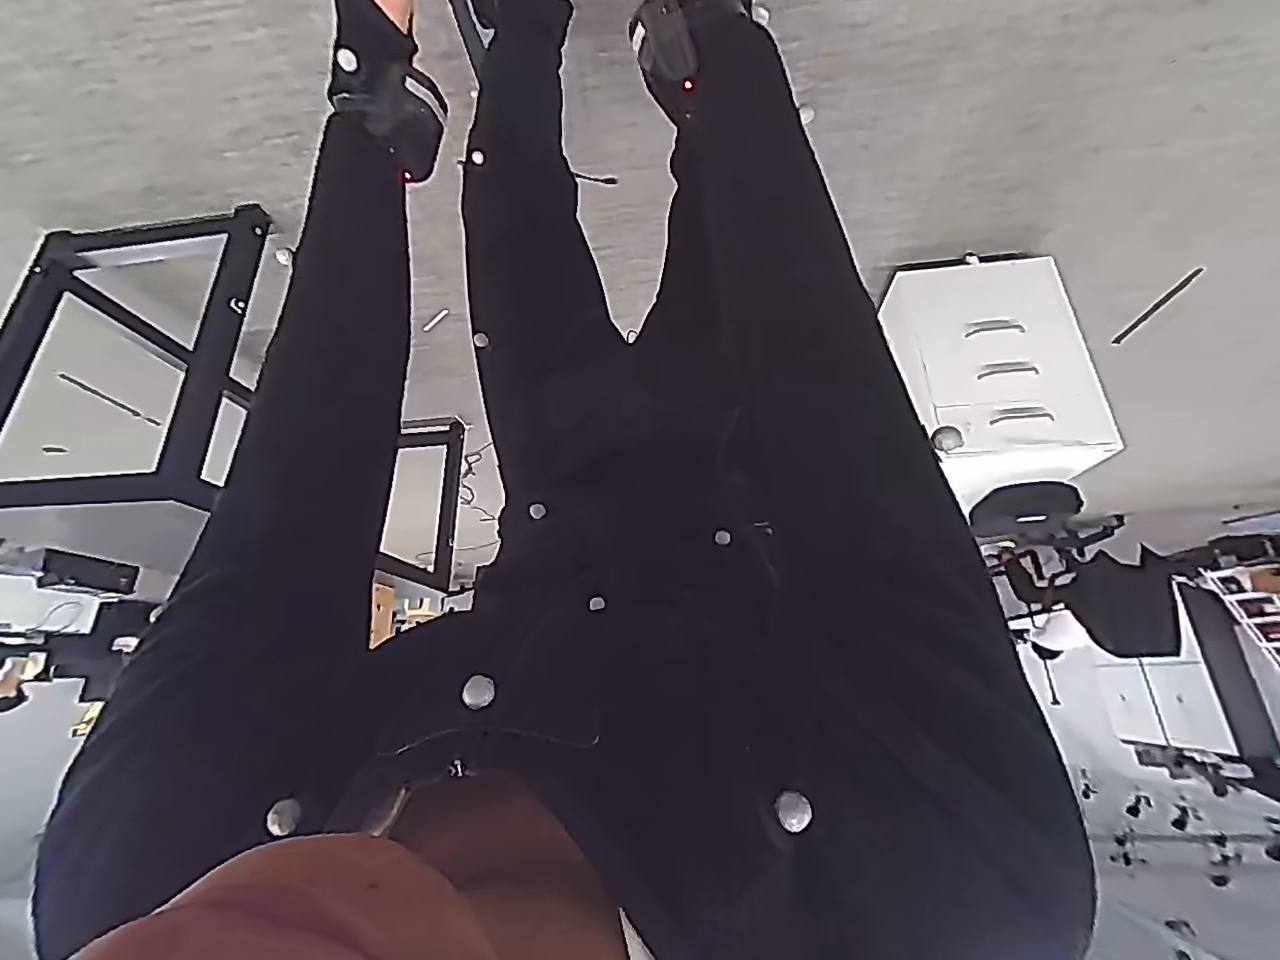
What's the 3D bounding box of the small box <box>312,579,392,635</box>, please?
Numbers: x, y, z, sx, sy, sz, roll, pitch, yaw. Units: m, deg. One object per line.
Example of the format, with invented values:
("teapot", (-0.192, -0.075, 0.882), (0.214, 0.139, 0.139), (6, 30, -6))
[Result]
("small box", (-0.953, 0.430, 1.809), (0.179, 0.176, 0.168), (-4, 159, 7))
